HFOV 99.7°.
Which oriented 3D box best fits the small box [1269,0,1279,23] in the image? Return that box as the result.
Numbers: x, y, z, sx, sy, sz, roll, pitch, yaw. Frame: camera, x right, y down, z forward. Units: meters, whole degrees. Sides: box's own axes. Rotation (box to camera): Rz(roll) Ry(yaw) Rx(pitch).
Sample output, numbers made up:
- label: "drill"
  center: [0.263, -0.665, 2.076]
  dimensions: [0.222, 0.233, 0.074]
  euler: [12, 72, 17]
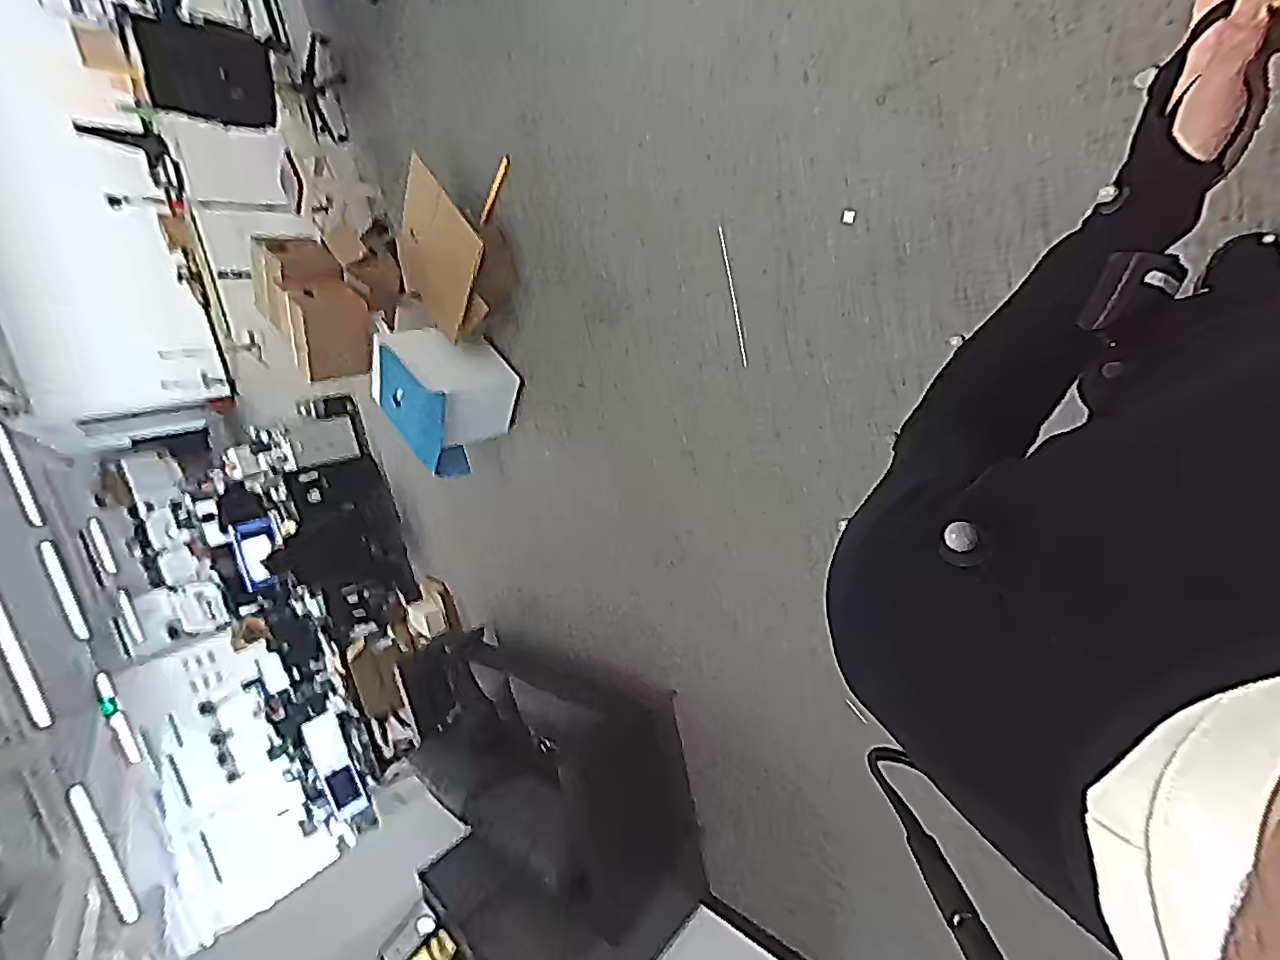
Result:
- label: "small box"
  center: [0.452, -0.375, 0.273]
  dimensions: [0.168, 0.176, 0.179]
  euler: [7, 116, 47]
